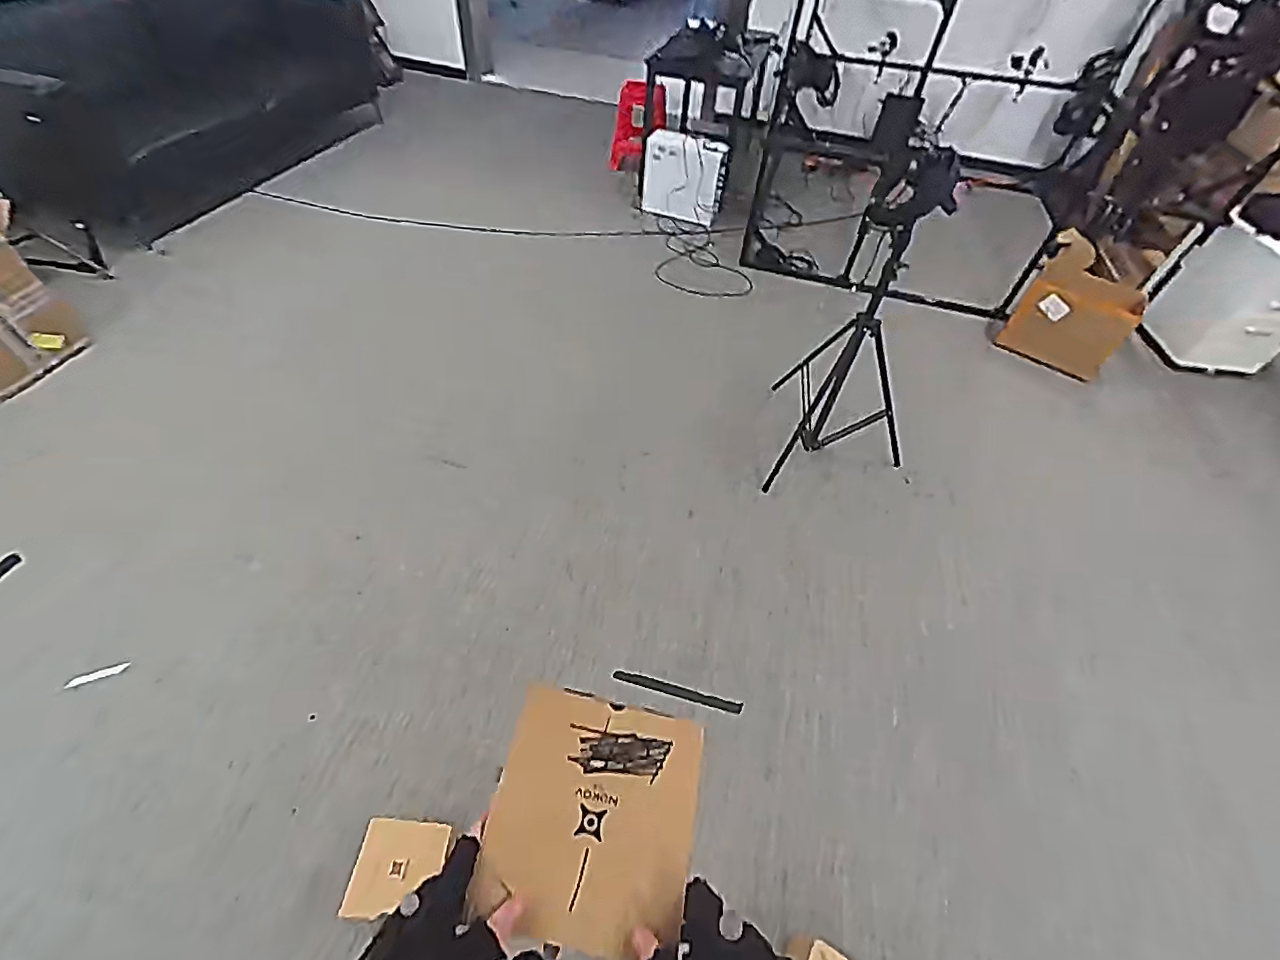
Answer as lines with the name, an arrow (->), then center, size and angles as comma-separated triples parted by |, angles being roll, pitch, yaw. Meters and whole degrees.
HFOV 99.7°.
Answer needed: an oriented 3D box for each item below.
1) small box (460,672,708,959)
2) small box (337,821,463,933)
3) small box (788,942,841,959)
small box -> -0.046, 0.303, 0.493 | 0.168, 0.176, 0.179 | 14, 54, 0
small box -> -0.485, 0.830, 1.128 | 0.179, 0.176, 0.168 | 5, 47, 0
small box -> 0.361, 1.033, 1.032 | 0.168, 0.176, 0.179 | 26, 53, 16
